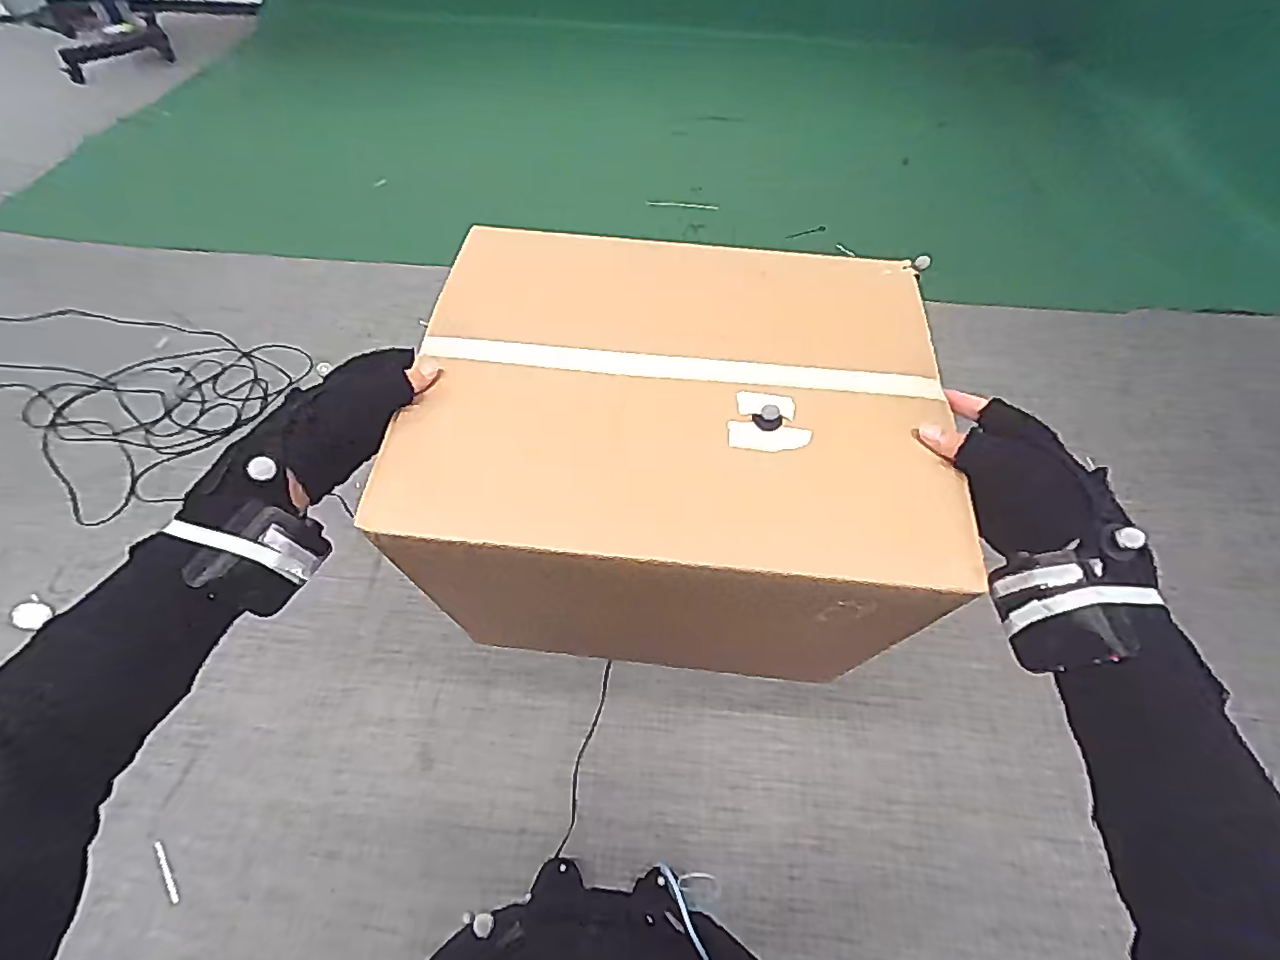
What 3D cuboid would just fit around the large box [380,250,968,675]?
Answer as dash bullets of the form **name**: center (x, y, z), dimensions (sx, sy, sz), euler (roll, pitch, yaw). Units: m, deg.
- **large box**: center (0.028, 0.000, 0.561), dimensions (0.408, 0.320, 0.320), euler (5, 60, 2)
